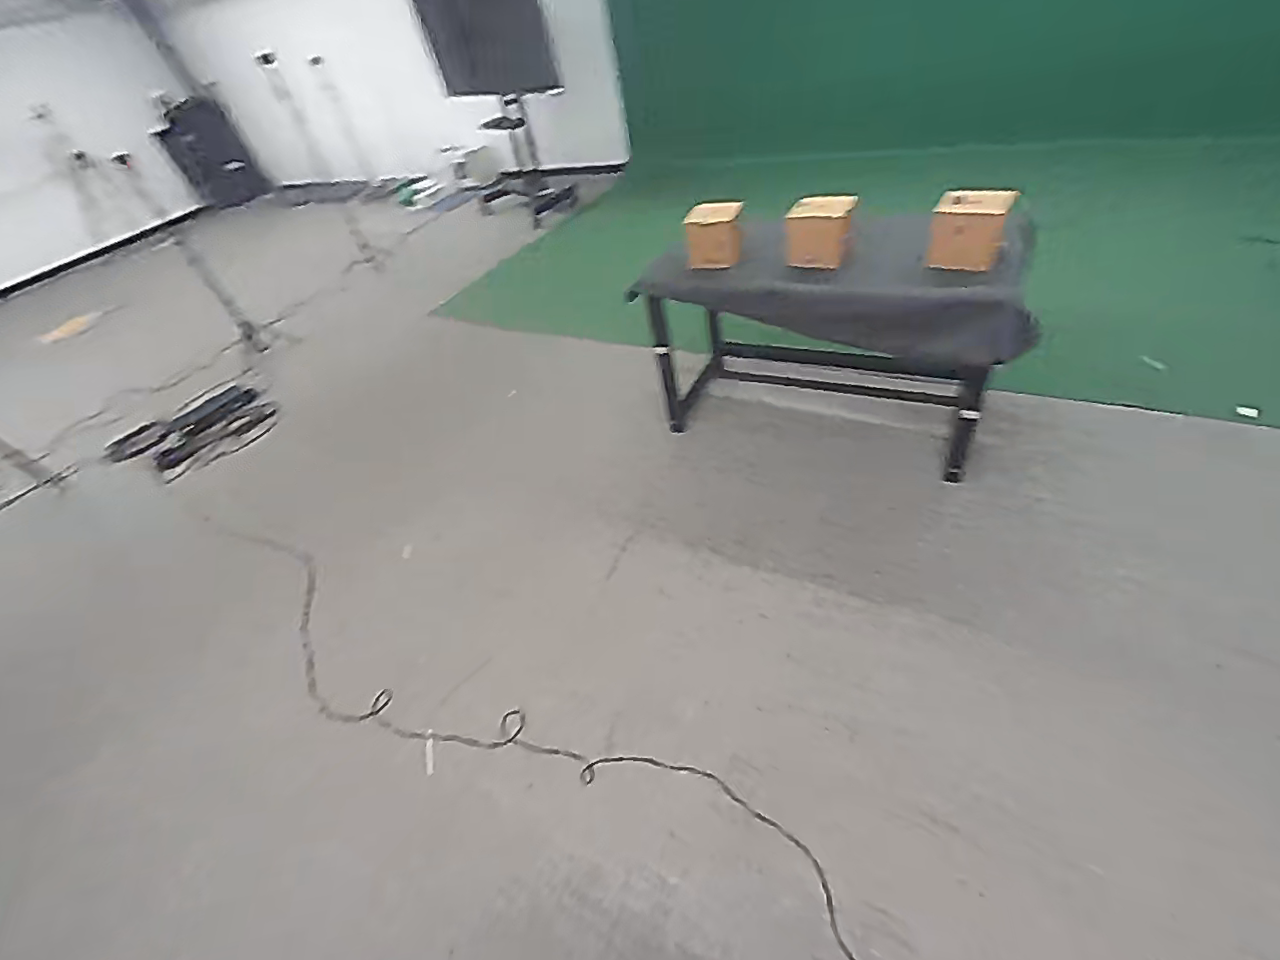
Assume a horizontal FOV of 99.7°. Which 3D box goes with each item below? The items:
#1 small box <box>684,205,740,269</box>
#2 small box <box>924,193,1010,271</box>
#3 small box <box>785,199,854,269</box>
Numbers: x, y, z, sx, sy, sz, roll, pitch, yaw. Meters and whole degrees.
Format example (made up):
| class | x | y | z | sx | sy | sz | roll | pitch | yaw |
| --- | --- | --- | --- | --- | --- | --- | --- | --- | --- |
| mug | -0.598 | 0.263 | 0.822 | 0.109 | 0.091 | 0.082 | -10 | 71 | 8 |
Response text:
| class | x | y | z | sx | sy | sz | roll | pitch | yaw |
| --- | --- | --- | --- | --- | --- | --- | --- | --- | --- |
| small box | 0.269 | -0.883 | 1.974 | 0.168 | 0.176 | 0.179 | 8 | 45 | 20 |
| small box | 0.983 | -0.750 | 1.634 | 0.179 | 0.176 | 0.168 | 20 | 53 | 31 |
| small box | 0.603 | -0.829 | 1.824 | 0.179 | 0.176 | 0.168 | 16 | 51 | 28 |
